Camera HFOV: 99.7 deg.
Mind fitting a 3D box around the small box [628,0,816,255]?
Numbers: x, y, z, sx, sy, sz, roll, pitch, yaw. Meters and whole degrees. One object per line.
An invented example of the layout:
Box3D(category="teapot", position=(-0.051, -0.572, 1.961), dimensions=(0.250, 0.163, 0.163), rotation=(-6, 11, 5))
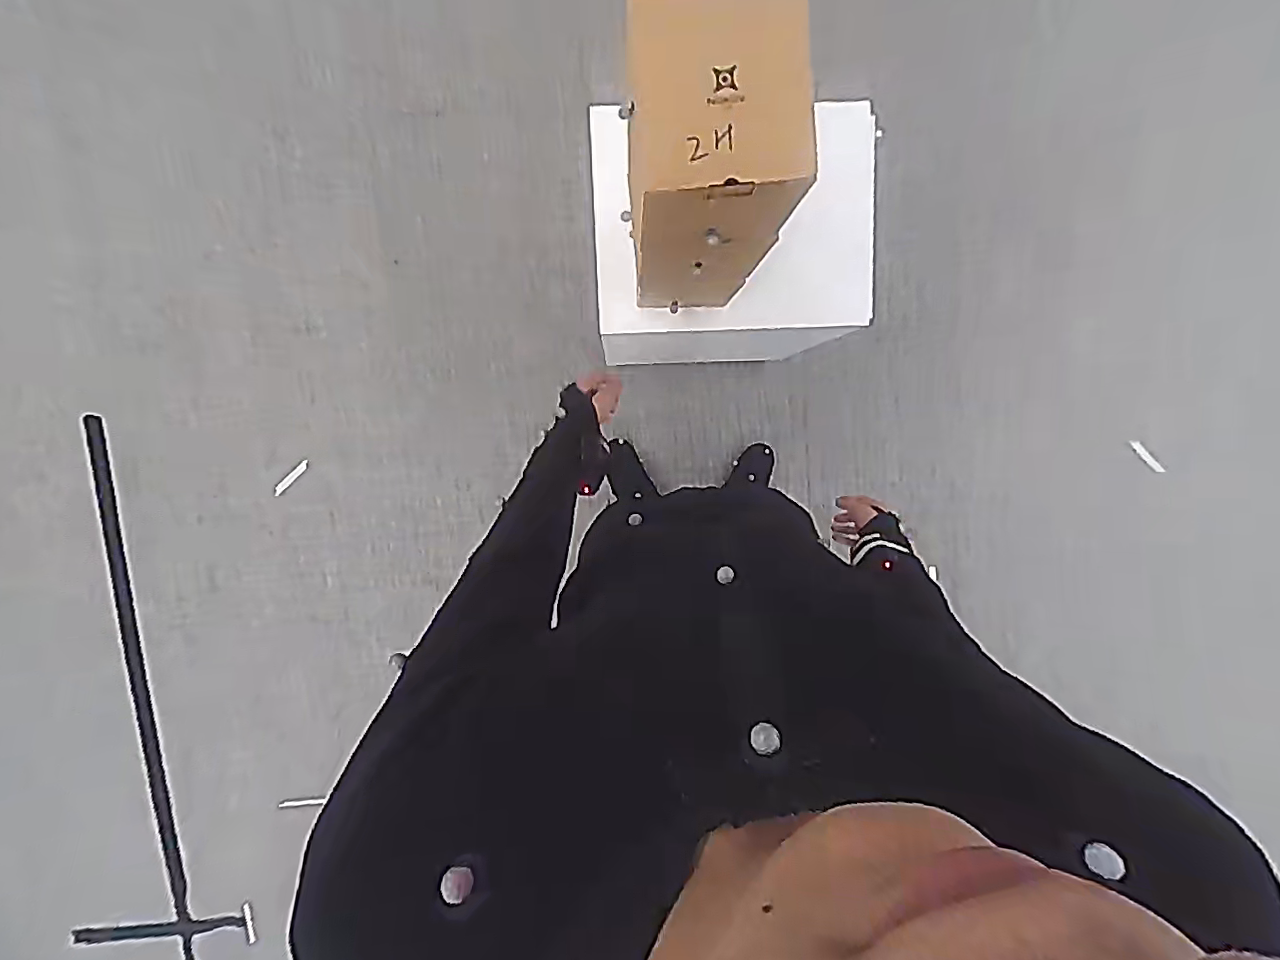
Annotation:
Box3D(category="small box", position=(0.075, -0.363, 0.579), dimensions=(0.168, 0.176, 0.179), rotation=(-5, 95, -1))

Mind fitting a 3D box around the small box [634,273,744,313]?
Box3D(category="small box", position=(0.075, -0.389, 0.907), dimensions=(0.168, 0.176, 0.179), rotation=(-2, 95, -2))

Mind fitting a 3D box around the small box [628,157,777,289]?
Box3D(category="small box", position=(0.077, -0.372, 0.743), dimensions=(0.179, 0.176, 0.168), rotation=(-6, 95, 0))
